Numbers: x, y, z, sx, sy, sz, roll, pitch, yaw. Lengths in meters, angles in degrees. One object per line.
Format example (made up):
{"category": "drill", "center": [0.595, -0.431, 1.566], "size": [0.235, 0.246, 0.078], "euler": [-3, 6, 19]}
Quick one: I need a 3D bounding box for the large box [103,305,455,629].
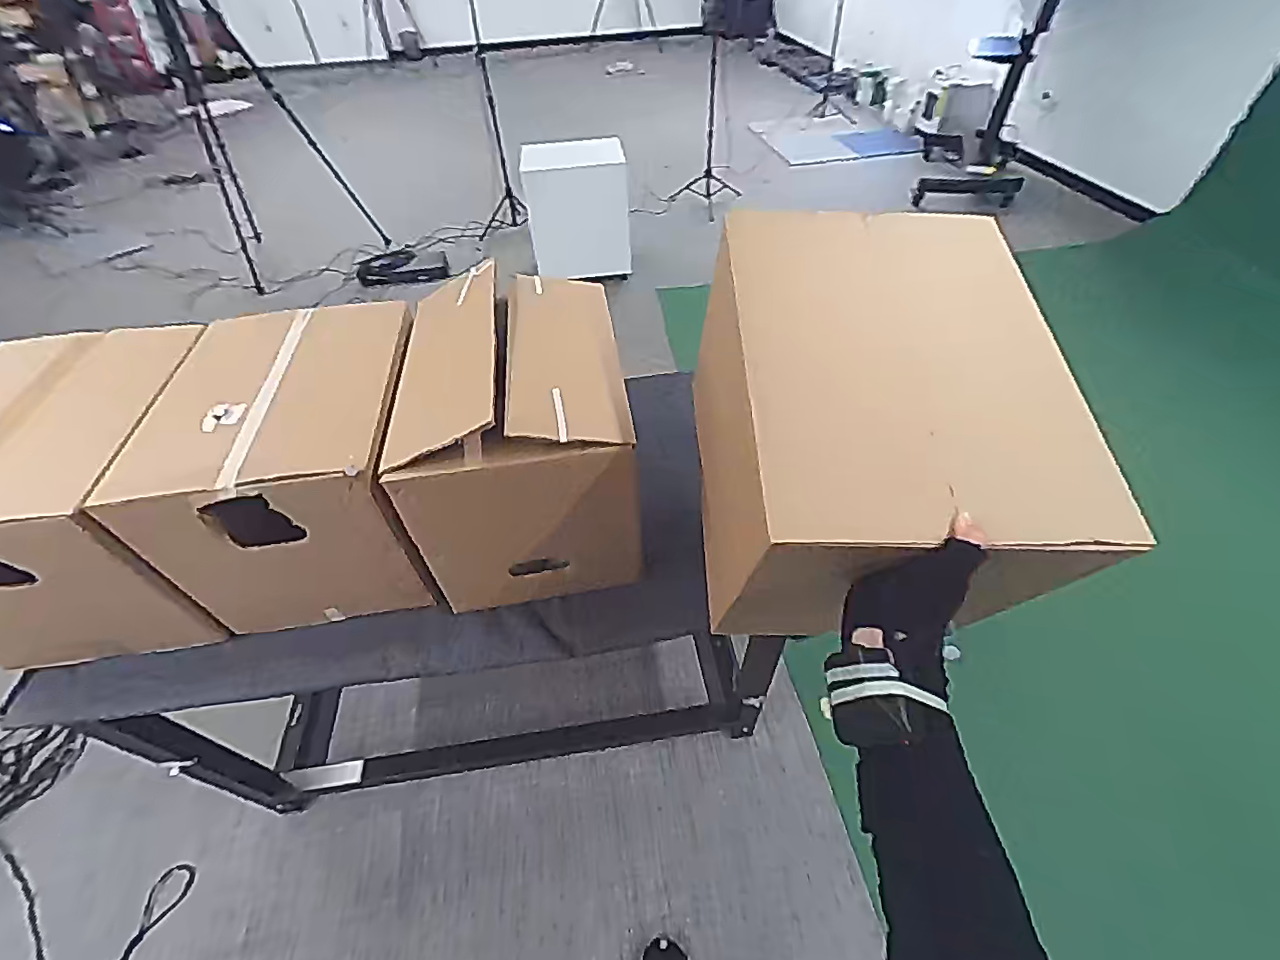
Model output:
{"category": "large box", "center": [-0.498, -0.030, 0.872], "size": [0.320, 0.320, 0.408], "euler": [-9, 48, -5]}
